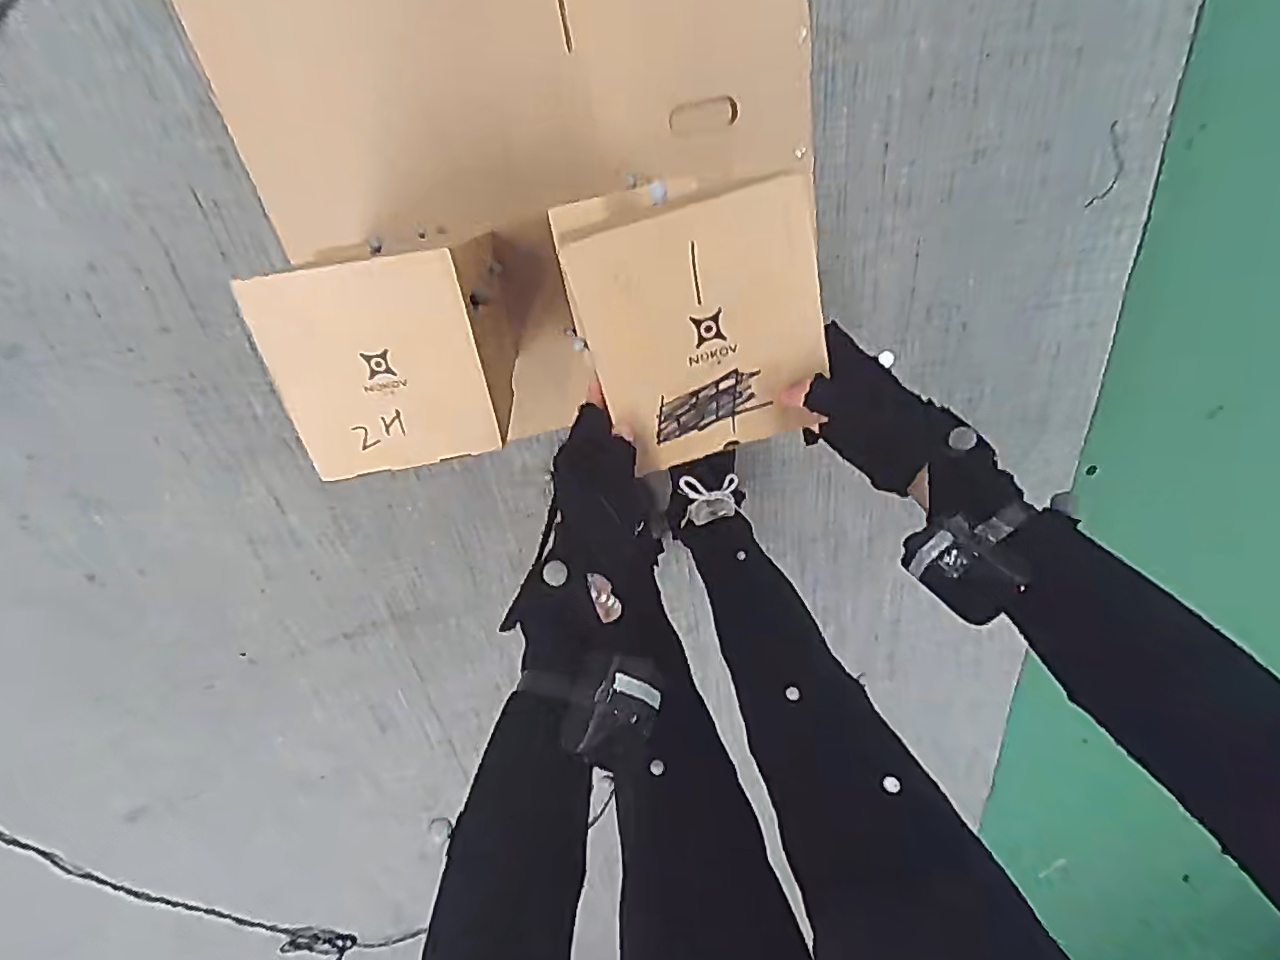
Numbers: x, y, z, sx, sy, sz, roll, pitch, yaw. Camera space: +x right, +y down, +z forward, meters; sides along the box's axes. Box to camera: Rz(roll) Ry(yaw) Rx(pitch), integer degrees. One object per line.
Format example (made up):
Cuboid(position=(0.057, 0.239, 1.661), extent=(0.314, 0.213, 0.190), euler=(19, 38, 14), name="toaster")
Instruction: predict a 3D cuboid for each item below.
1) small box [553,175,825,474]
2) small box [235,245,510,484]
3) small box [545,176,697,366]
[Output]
Cuboid(position=(0.035, -0.135, 0.453), extent=(0.168, 0.176, 0.179), euler=(-18, 117, 1), name="small box")
Cuboid(position=(-0.226, -0.121, 0.517), extent=(0.168, 0.176, 0.179), euler=(-11, 118, -4), name="small box")
Cuboid(position=(-0.018, -0.262, 0.676), extent=(0.168, 0.176, 0.179), euler=(-16, 119, -3), name="small box")
